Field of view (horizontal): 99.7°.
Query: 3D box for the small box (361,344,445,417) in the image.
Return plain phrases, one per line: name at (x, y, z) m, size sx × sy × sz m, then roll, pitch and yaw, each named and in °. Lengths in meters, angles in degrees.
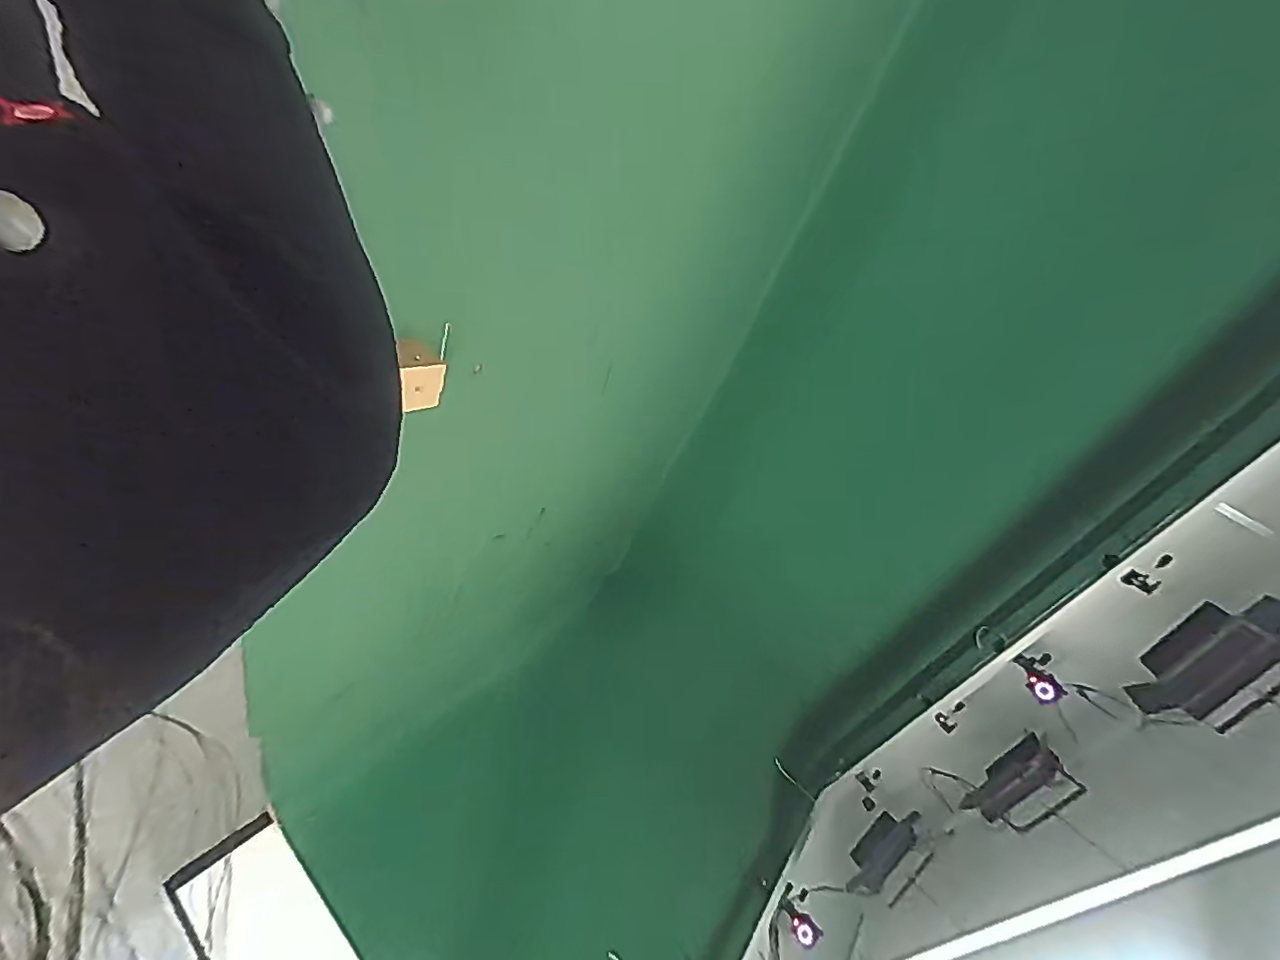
small box at (-0.766, -0.327, 1.748) m, size 0.179 × 0.176 × 0.168 m, roll -23°, pitch 145°, yaw -51°
